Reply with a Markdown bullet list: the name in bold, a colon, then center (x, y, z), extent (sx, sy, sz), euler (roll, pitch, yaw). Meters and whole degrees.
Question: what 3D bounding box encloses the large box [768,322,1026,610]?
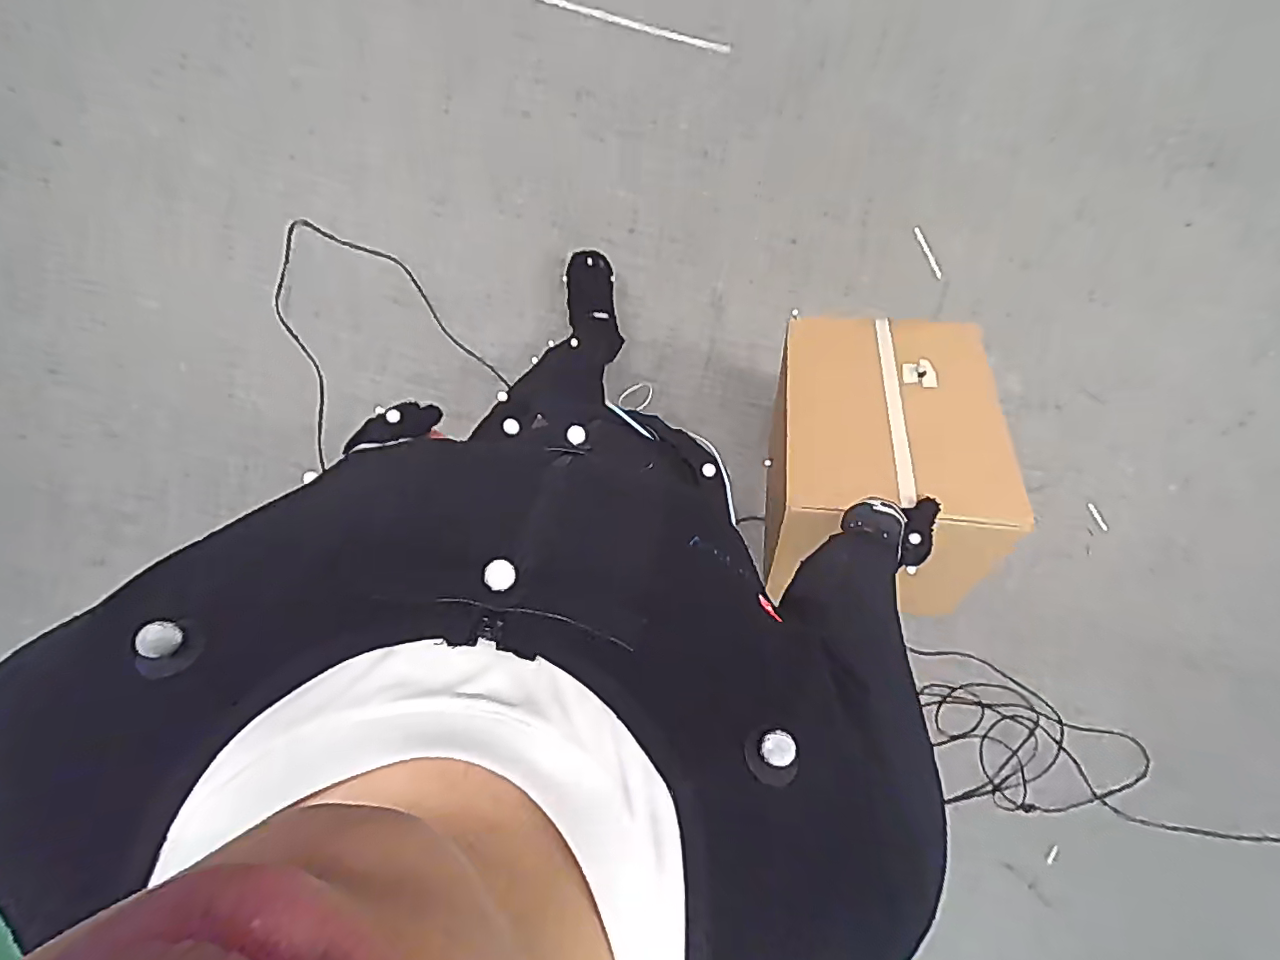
- **large box**: center (0.400, -0.024, 0.962), extent (0.320, 0.408, 0.320), euler (6, 145, 8)
